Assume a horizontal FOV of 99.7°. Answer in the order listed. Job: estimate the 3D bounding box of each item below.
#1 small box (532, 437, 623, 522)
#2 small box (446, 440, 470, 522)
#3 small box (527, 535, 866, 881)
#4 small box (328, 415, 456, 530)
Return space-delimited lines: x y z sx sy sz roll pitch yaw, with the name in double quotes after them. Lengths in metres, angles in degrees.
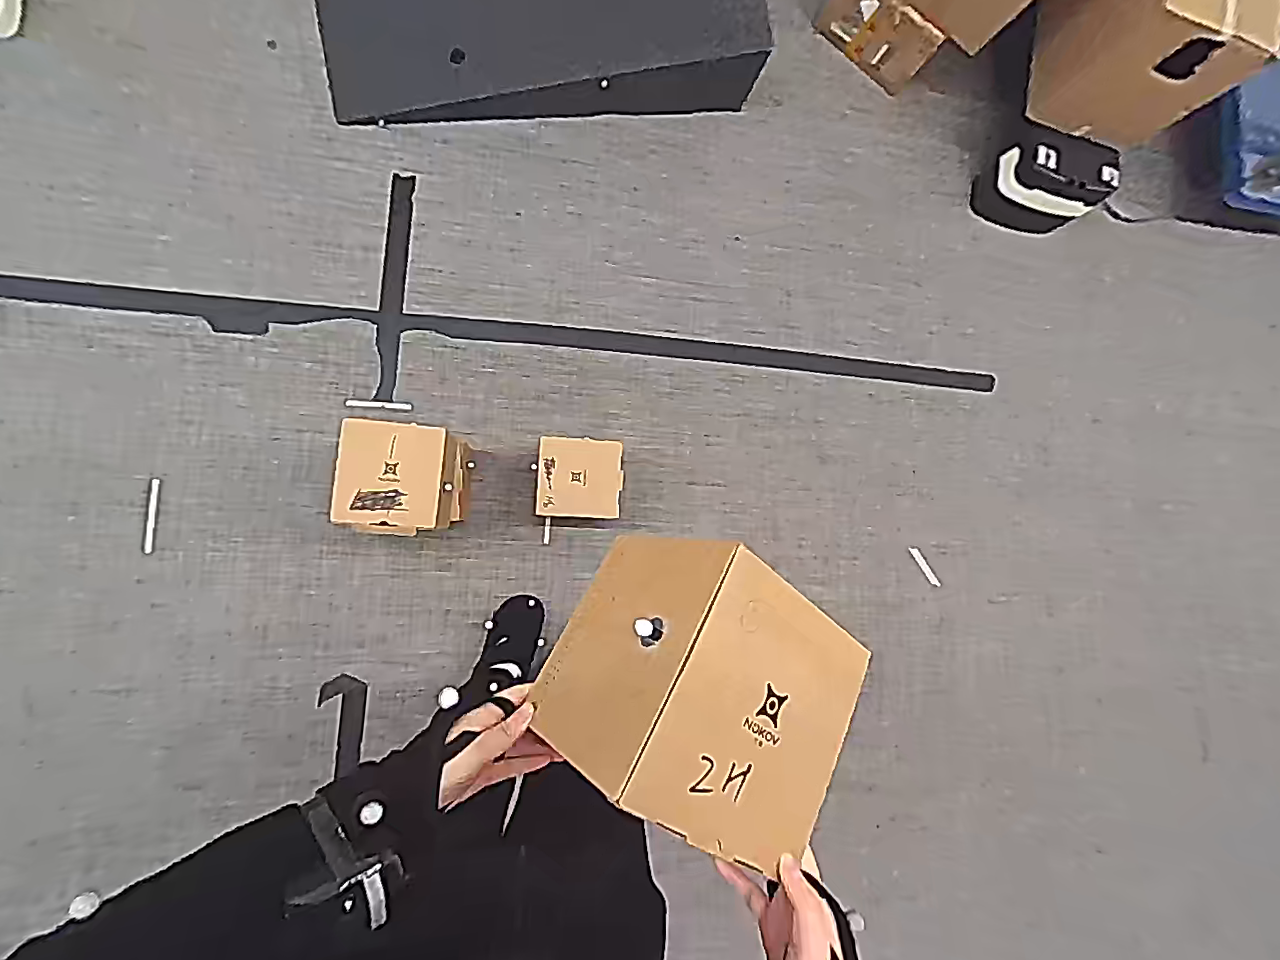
-0.143 0.003 1.196 0.179 0.176 0.168 5 86 -12 "small box"
-0.456 -0.001 1.131 0.179 0.176 0.168 3 87 -11 "small box"
0.038 0.157 0.427 0.168 0.176 0.179 40 67 -23 "small box"
-0.432 -0.007 0.969 0.168 0.176 0.179 6 85 -12 "small box"
